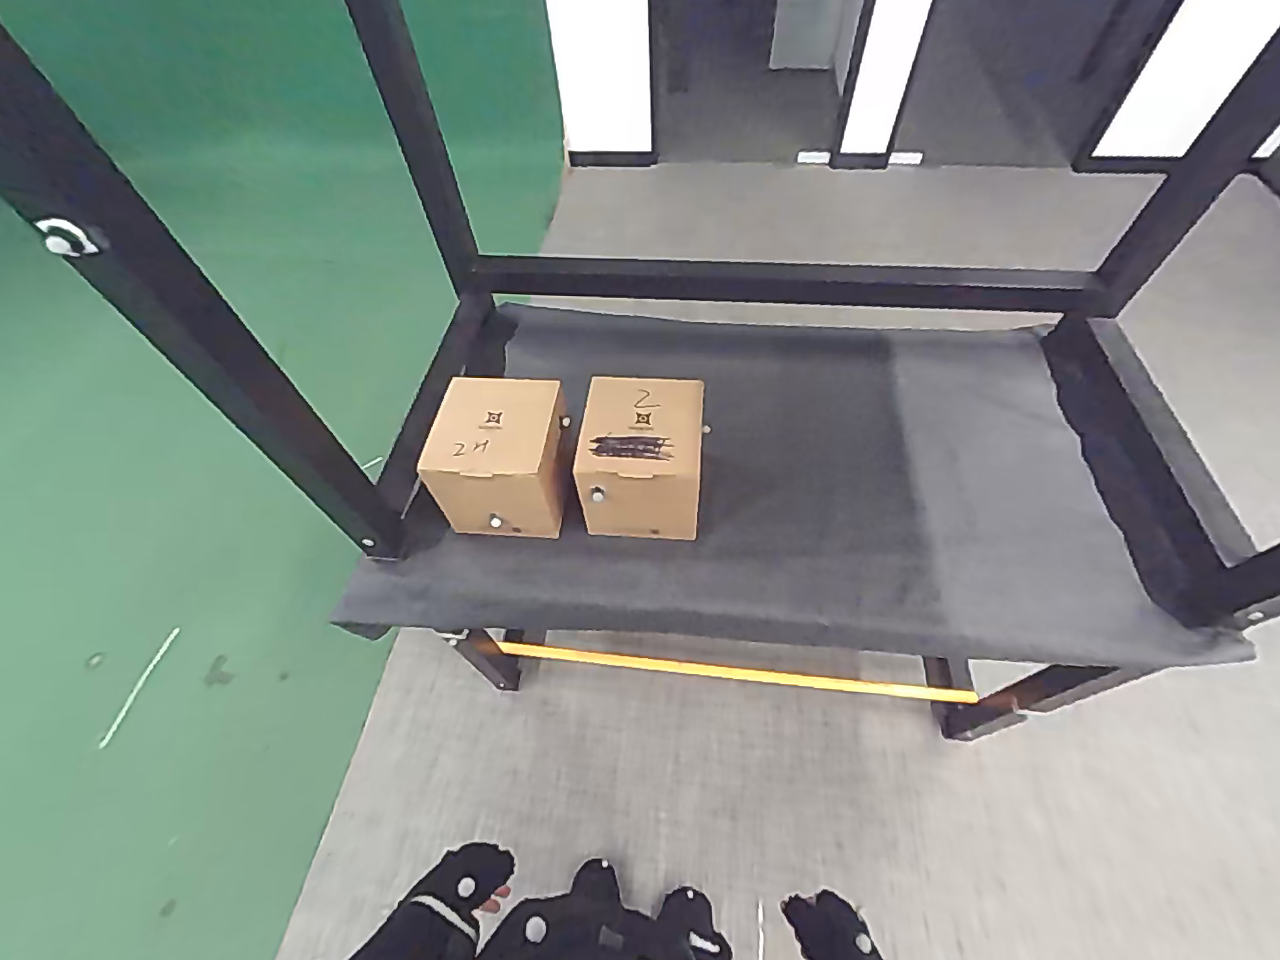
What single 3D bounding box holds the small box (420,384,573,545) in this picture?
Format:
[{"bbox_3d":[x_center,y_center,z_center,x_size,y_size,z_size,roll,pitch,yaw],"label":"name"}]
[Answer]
[{"bbox_3d":[-0.201,-0.022,0.818,0.168,0.176,0.179,3,55,5],"label":"small box"}]
